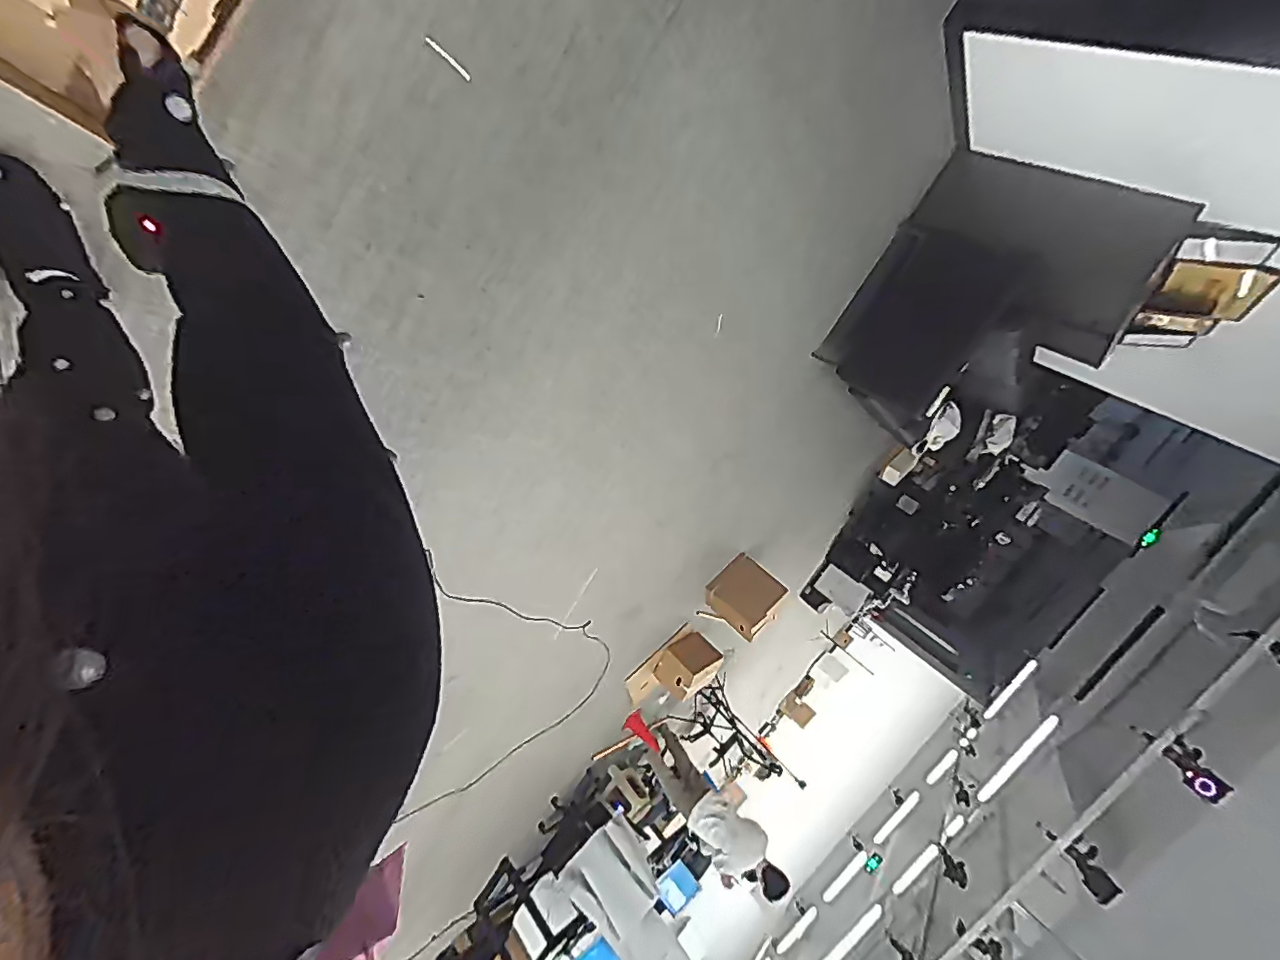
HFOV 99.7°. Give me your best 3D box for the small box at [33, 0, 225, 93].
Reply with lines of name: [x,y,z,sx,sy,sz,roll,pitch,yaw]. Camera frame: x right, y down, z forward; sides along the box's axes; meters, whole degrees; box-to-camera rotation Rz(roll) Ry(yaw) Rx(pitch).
small box: [-0.596,-0.584,0.596,0.168,0.176,0.179,-54,148,8]
